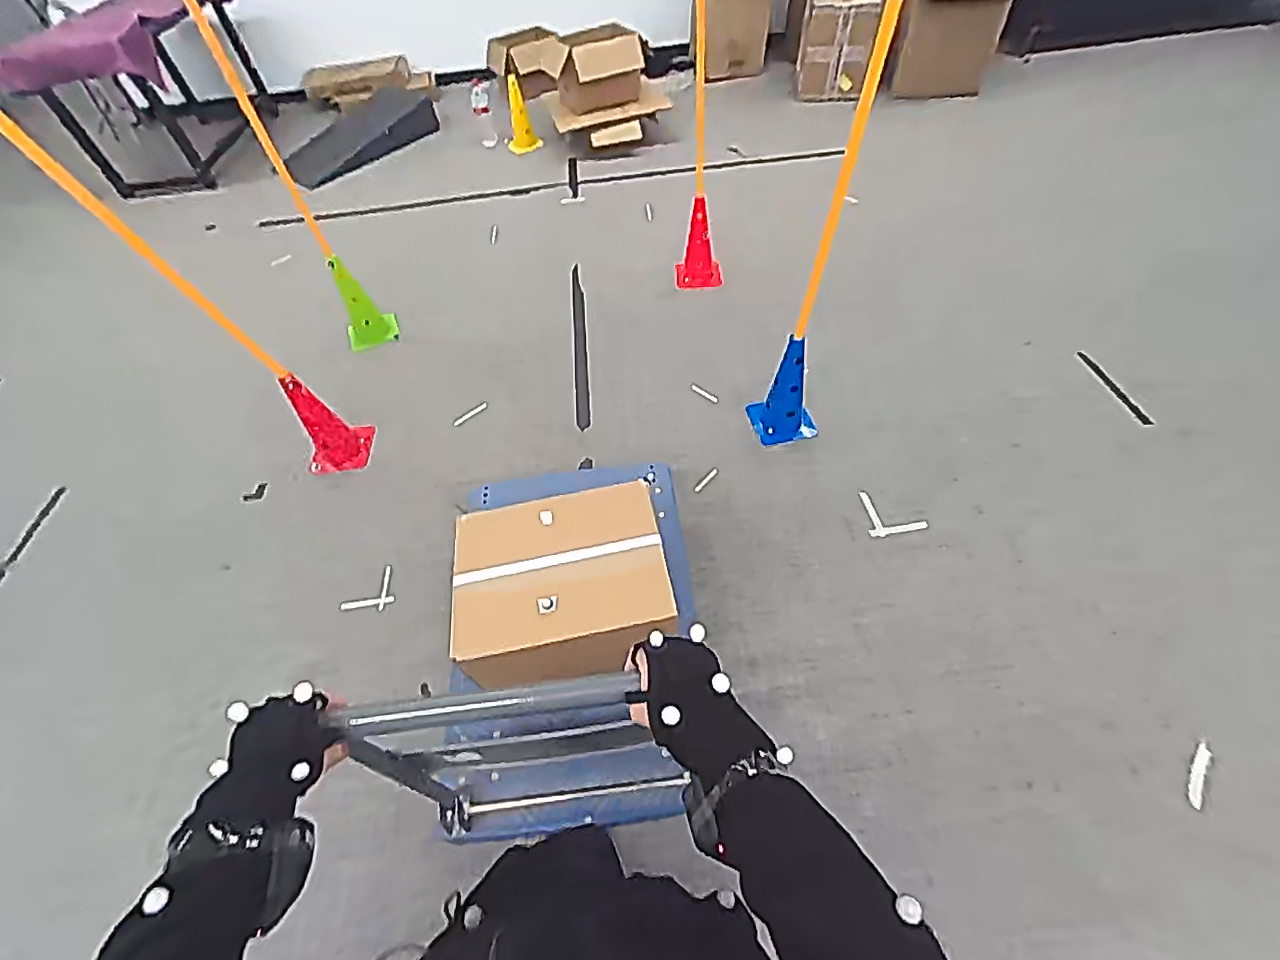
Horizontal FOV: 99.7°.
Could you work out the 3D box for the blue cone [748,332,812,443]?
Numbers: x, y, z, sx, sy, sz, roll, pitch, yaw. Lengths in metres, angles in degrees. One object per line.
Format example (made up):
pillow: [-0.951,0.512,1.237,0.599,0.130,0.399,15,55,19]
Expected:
blue cone: [0.476,-0.307,1.750,0.193,0.380,0.192,-10,52,-3]

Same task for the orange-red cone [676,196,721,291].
orange-red cone: [0.250,-1.011,2.282,0.199,0.360,0.198,-1,54,3]
